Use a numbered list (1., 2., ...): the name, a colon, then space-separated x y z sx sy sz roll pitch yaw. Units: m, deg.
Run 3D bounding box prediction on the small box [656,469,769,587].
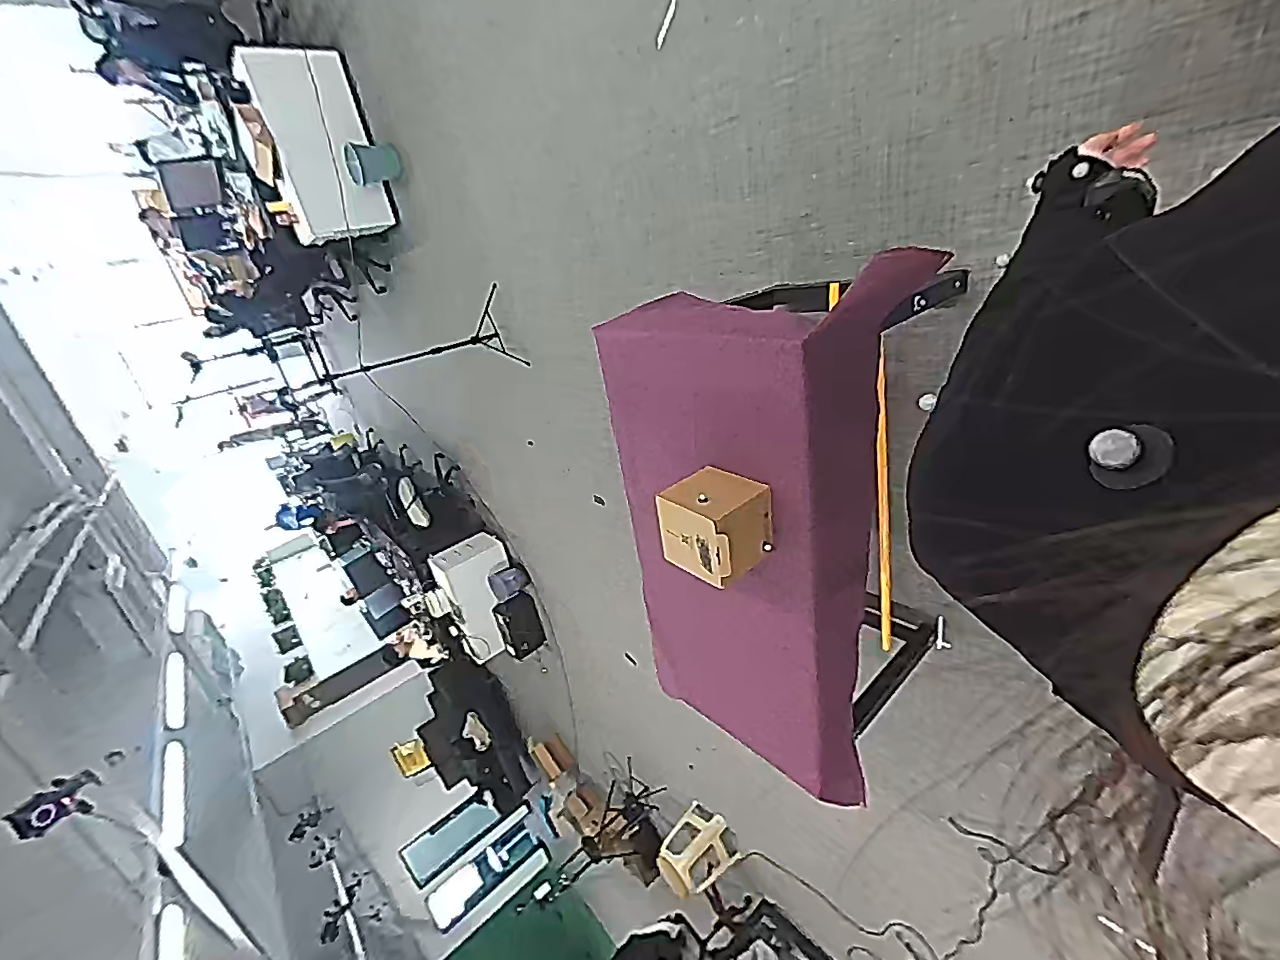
1. small box: 0.161 0.092 1.151 0.179 0.176 0.168 22 130 47
